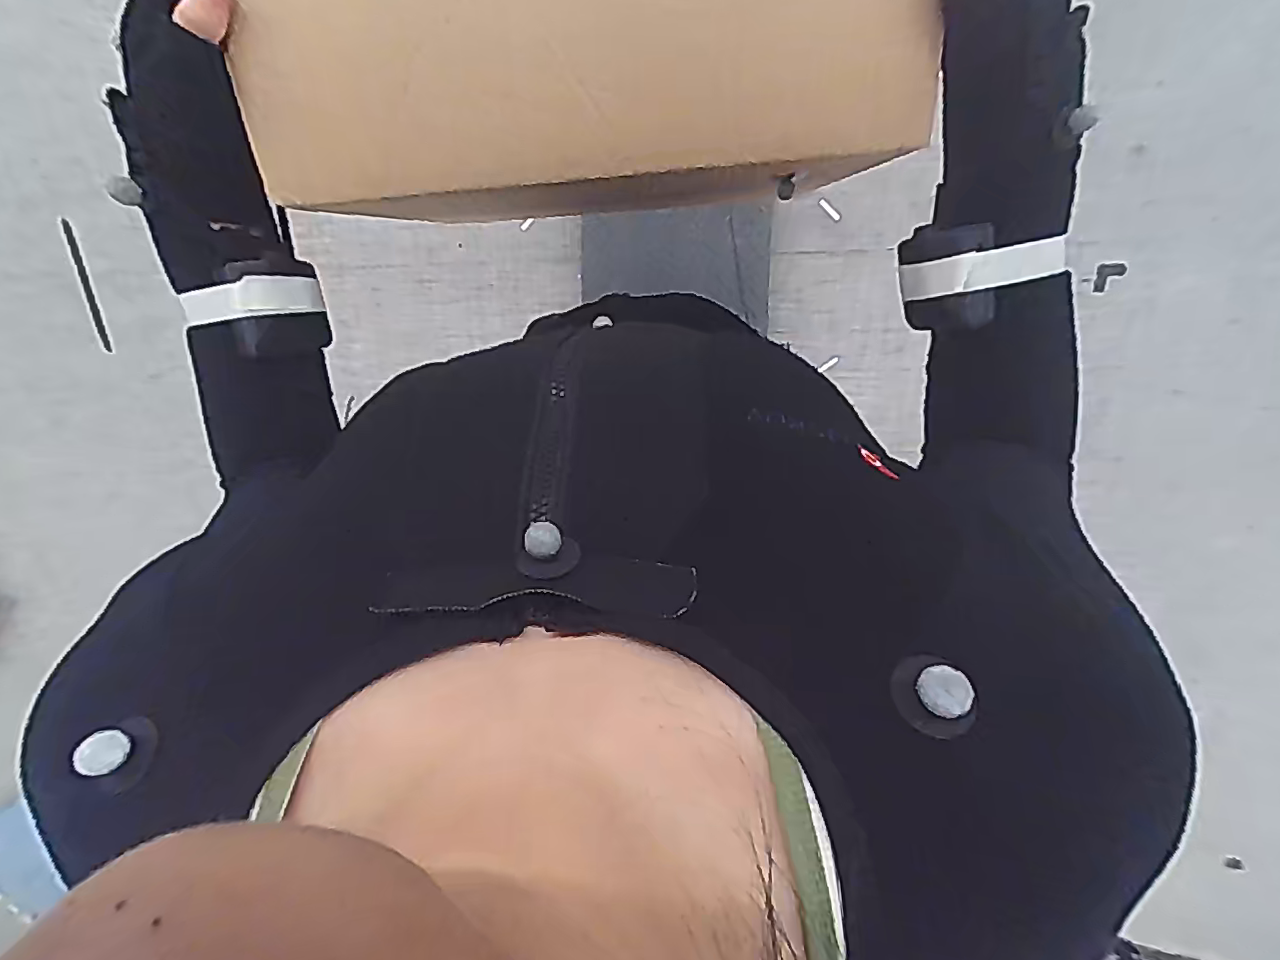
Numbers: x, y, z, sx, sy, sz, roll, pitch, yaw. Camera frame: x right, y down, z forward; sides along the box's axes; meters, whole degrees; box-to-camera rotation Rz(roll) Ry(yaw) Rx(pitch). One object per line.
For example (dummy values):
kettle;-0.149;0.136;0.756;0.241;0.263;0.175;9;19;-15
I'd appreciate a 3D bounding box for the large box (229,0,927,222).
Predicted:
large box;-0.036;-0.390;0.420;0.408;0.320;0.320;-3;113;4
